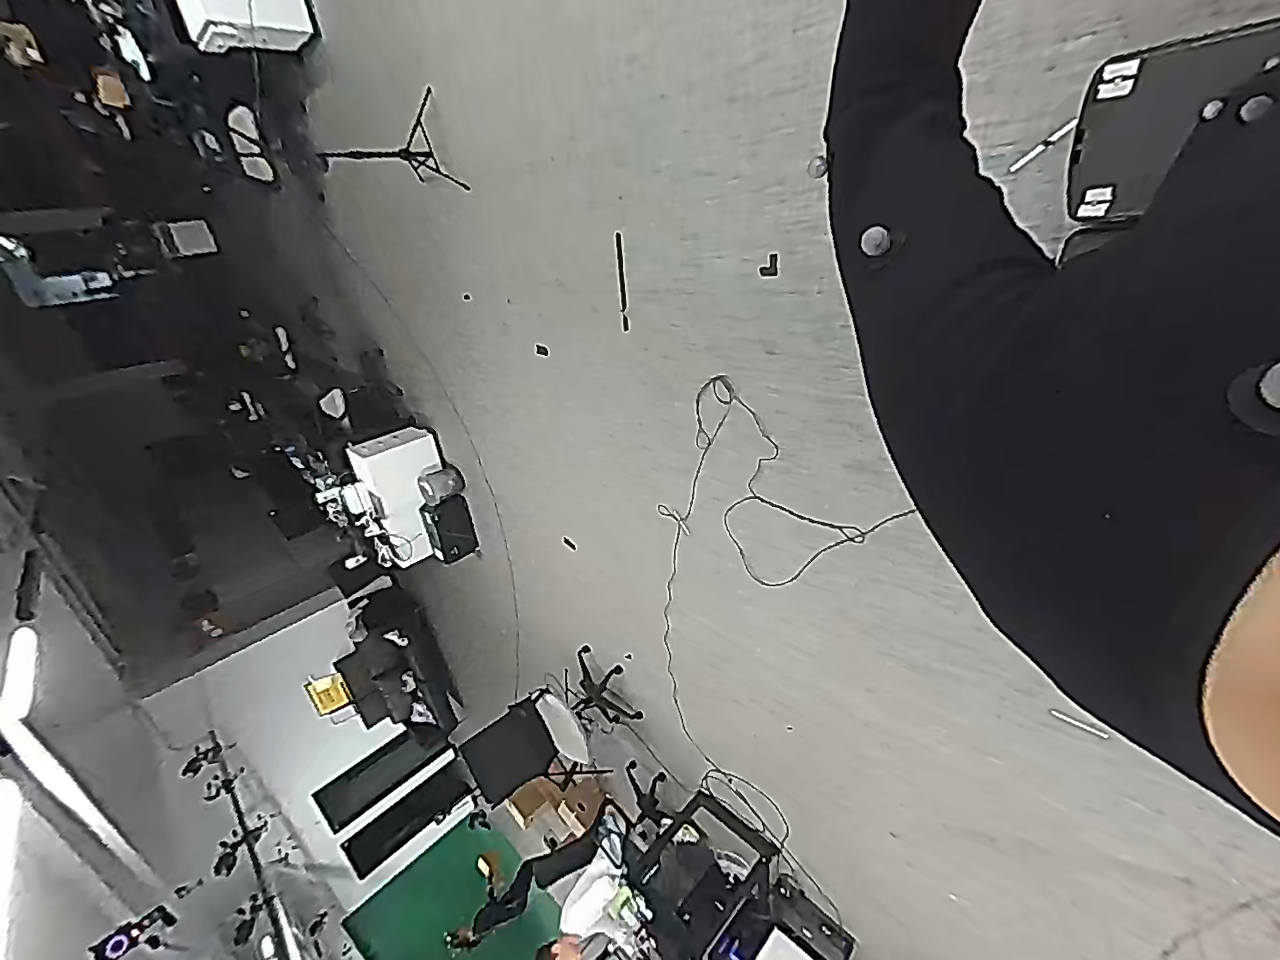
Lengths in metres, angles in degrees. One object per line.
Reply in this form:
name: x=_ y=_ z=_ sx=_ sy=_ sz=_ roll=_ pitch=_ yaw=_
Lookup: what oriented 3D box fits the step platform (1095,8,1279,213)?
step platform: x=1.169 y=-0.620 z=0.858 sx=0.684 sy=0.204 sz=0.286 roll=16 pitch=124 yaw=42
